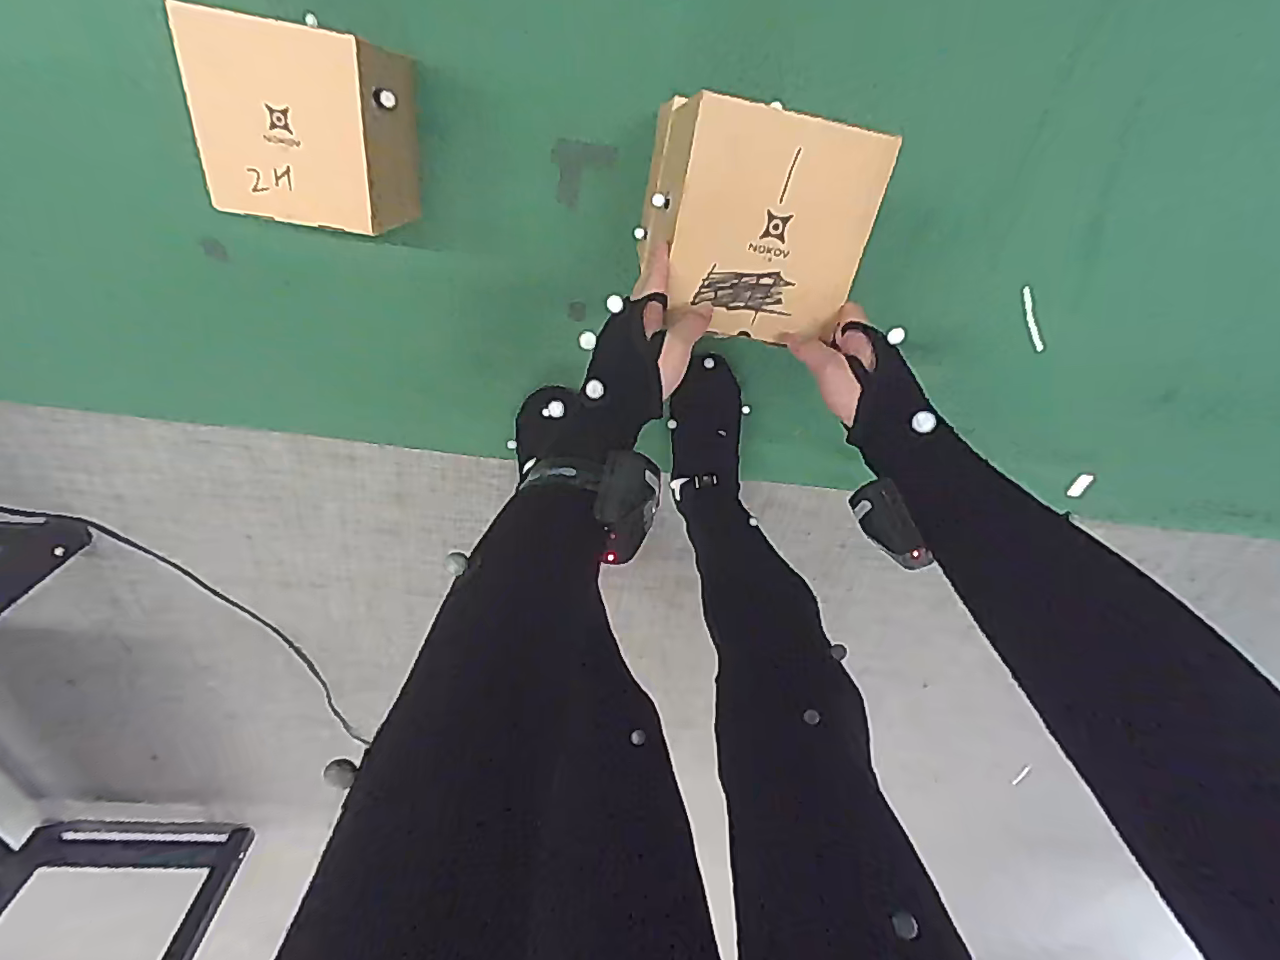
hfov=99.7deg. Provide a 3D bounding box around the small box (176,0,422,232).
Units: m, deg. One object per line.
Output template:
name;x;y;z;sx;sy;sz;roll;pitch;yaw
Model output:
small box;-0.354;-0.396;0.604;0.168;0.176;0.179;8;122;-6

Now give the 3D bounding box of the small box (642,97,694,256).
small box;0.097;-0.341;0.658;0.168;0.176;0.179;8;123;-7

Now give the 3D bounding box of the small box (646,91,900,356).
small box;0.103;-0.240;0.519;0.168;0.176;0.179;8;118;-10
